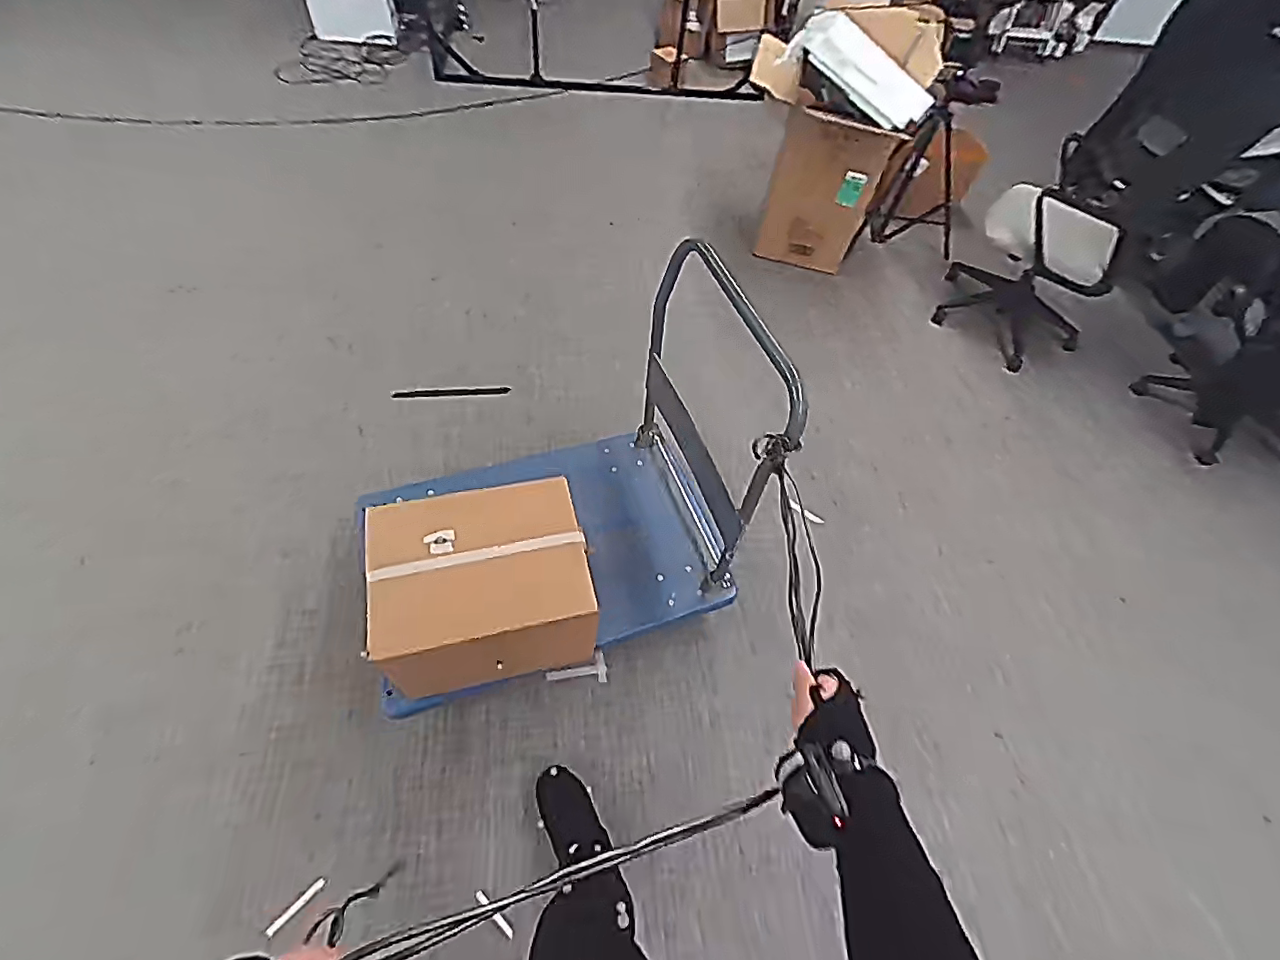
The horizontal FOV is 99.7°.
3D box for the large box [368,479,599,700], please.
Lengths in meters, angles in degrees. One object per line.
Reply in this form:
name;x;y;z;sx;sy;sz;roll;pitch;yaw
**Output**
large box;-0.320;0.237;1.159;0.408;0.320;0.320;-10;57;-13
